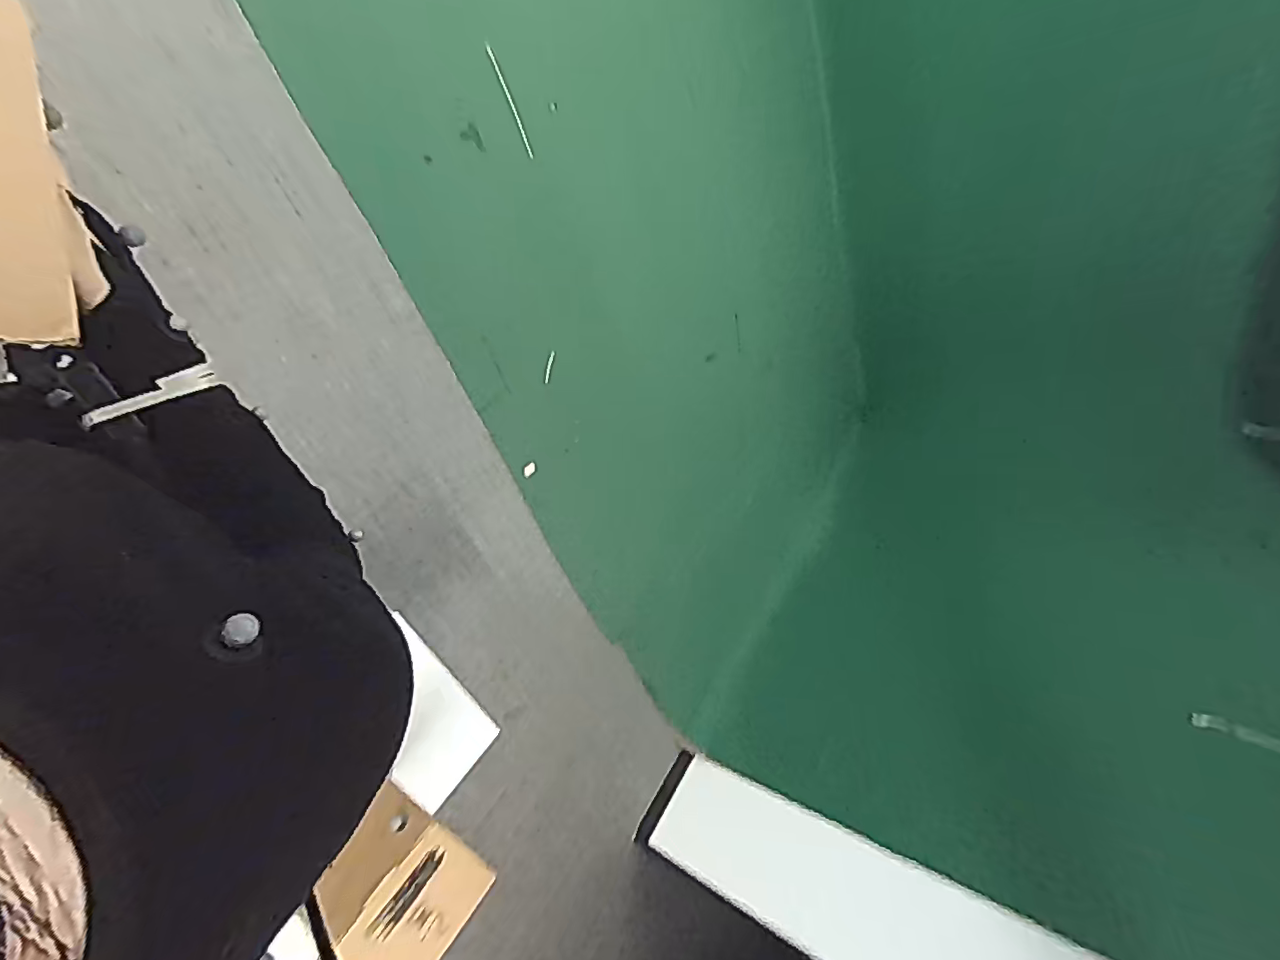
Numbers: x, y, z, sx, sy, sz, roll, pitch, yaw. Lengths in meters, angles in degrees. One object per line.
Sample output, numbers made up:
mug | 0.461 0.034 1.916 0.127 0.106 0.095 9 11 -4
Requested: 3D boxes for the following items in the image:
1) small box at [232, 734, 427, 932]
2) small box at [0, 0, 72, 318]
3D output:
small box | -0.475 0.531 0.835 0.168 0.176 0.179 -45 129 -37
small box | -0.420 -0.174 0.249 0.168 0.176 0.179 -20 118 -59
